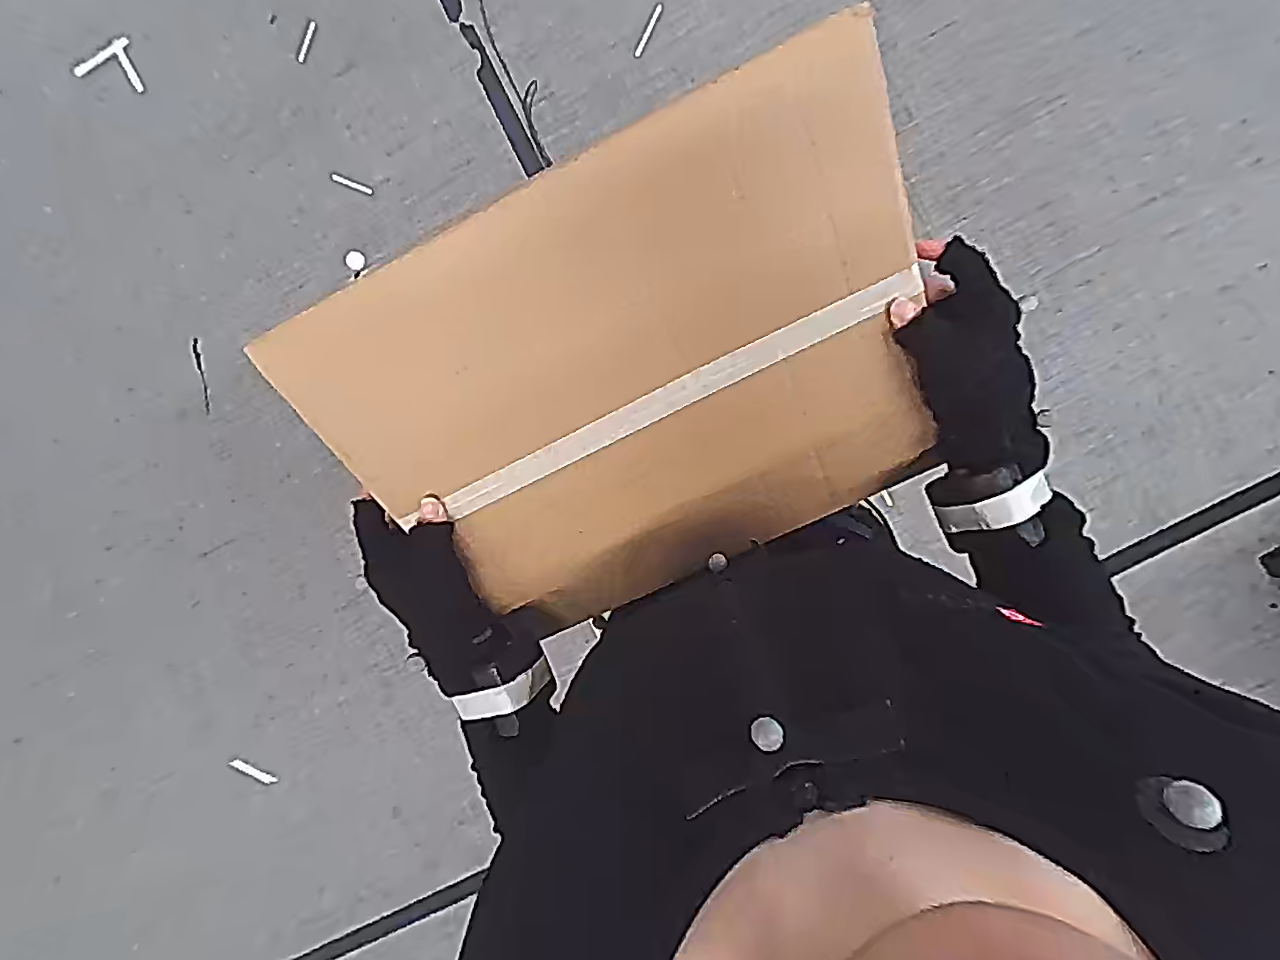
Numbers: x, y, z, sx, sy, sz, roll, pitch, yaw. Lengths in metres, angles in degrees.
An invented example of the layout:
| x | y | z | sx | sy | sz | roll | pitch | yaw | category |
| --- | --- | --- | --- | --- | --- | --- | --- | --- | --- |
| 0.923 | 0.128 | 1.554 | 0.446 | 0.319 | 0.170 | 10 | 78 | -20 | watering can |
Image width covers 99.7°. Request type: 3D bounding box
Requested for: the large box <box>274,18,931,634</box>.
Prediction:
| x | y | z | sx | sy | sz | roll | pitch | yaw | category |
| --- | --- | --- | --- | --- | --- | --- | --- | --- | --- |
| -0.018 | -0.128 | 0.525 | 0.408 | 0.320 | 0.320 | -25 | 121 | 7 | large box |
